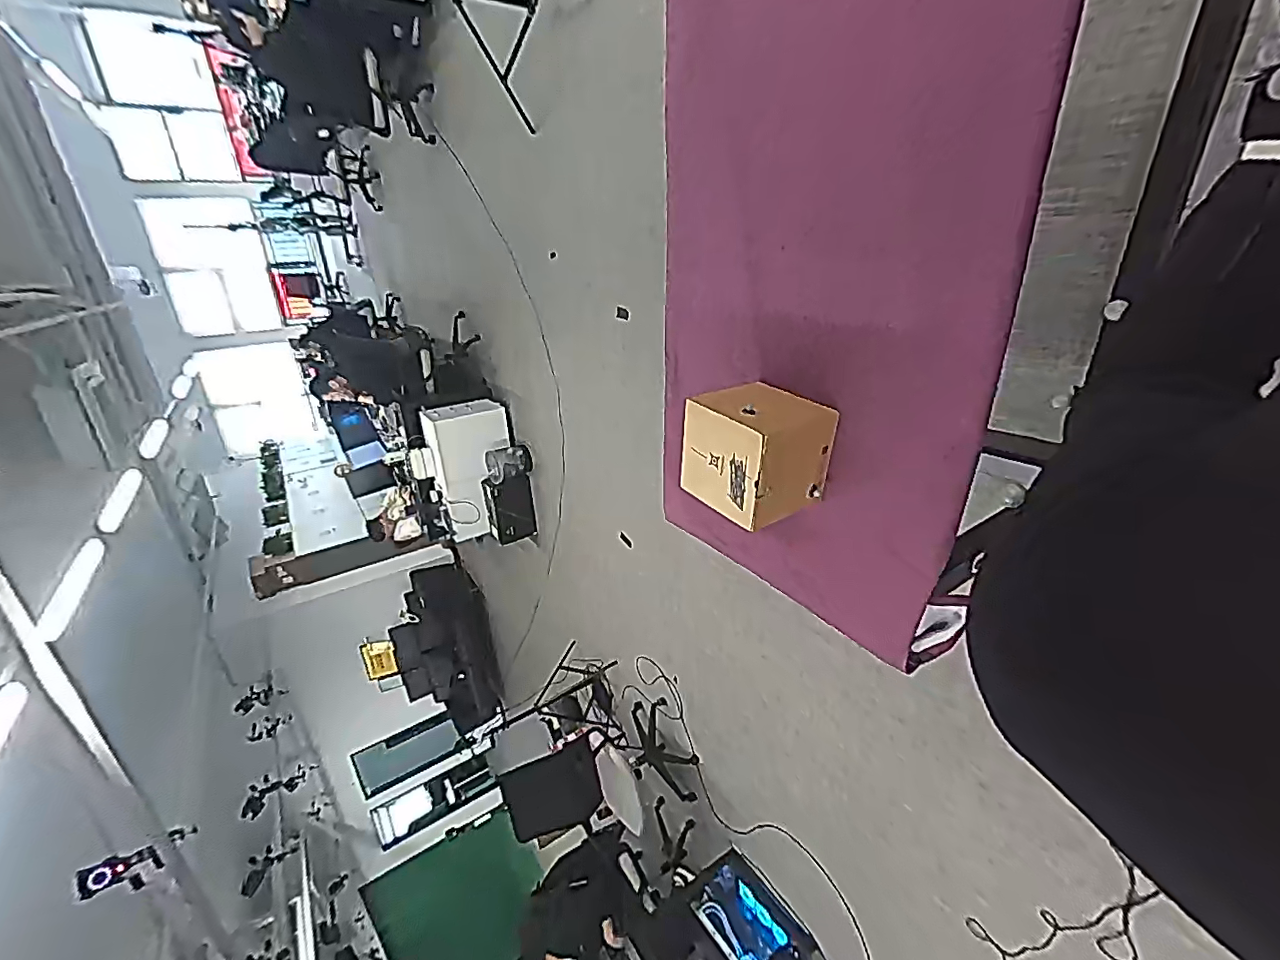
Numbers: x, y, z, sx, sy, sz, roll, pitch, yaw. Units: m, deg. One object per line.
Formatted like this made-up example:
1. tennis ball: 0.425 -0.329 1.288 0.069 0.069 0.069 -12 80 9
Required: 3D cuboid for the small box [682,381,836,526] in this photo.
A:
1. small box: 0.191 -0.054 0.885 0.179 0.176 0.168 36 133 46
